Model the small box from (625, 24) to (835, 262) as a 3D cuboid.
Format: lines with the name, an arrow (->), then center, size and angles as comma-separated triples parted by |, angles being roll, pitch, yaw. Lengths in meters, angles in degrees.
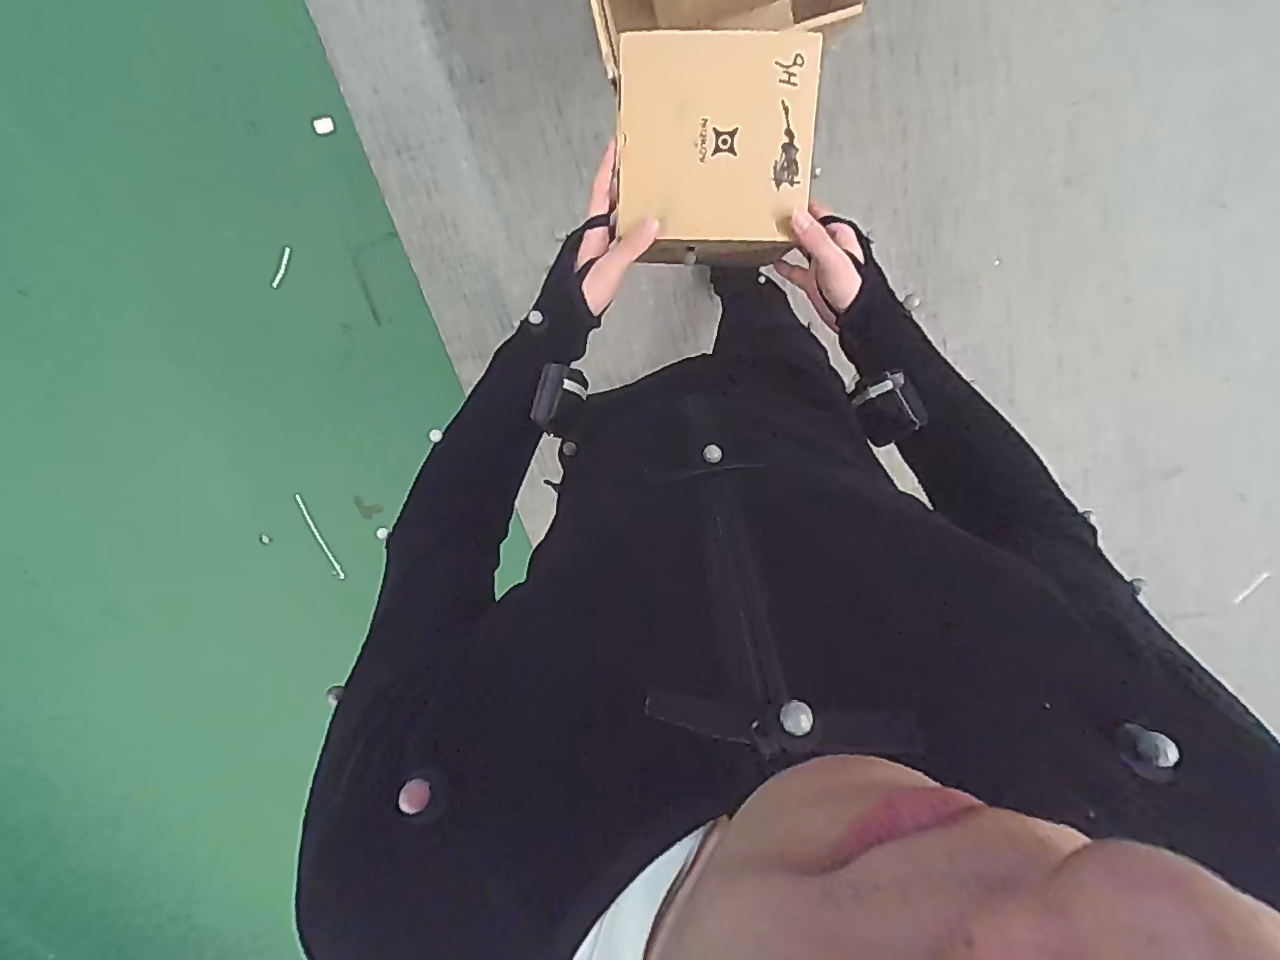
small box -> 0.079, -0.323, 0.553 | 0.179, 0.176, 0.168 | 2, 104, 2

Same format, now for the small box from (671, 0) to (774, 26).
small box -> 0.128, -0.808, 0.796 | 0.179, 0.176, 0.168 | -14, 110, 6
